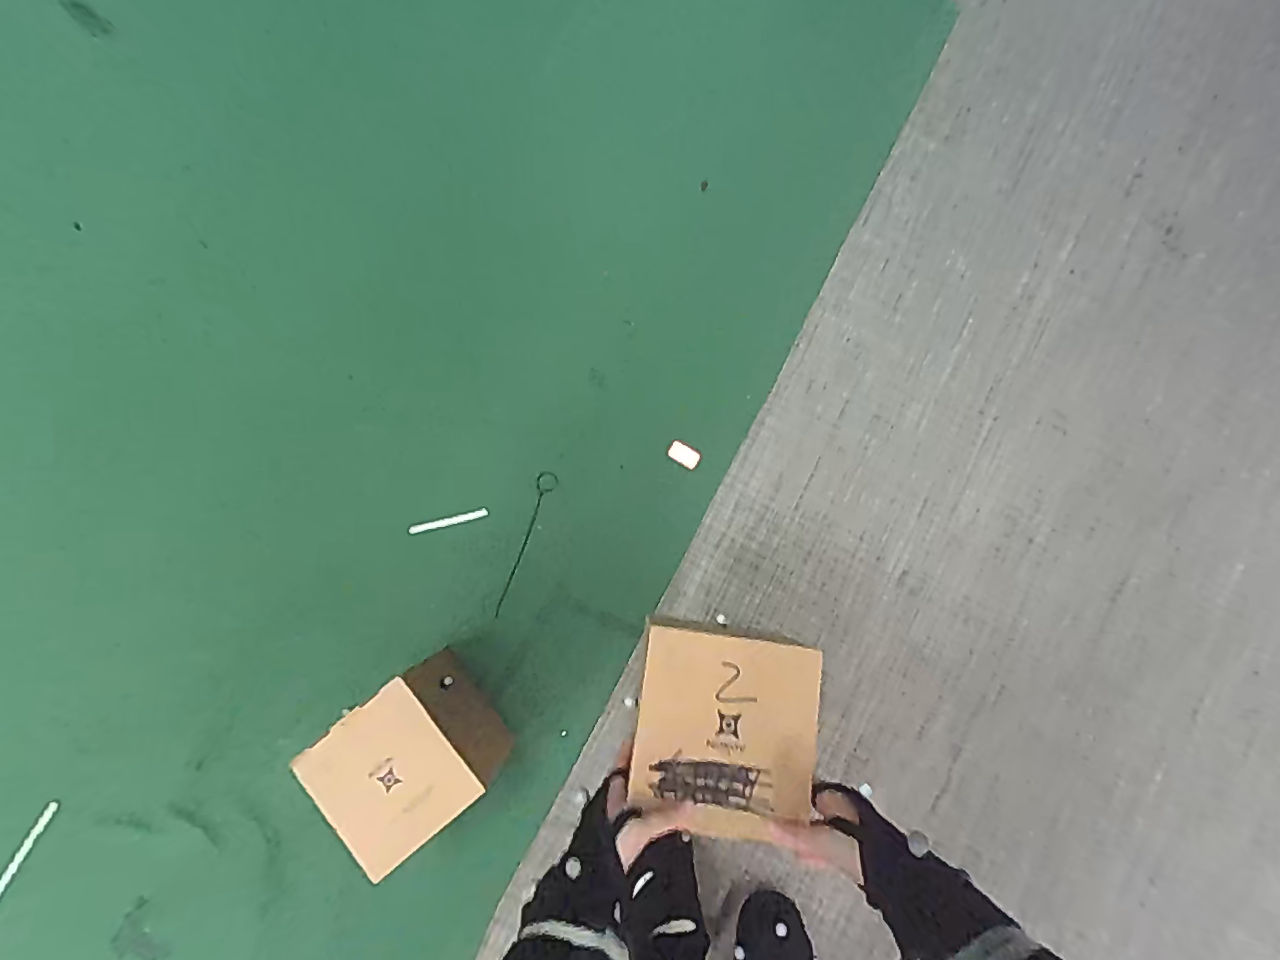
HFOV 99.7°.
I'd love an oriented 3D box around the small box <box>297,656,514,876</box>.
[{"bbox_3d":[-0.297,0.358,0.723,0.168,0.176,0.179,-39,86,-4],"label":"small box"}]
